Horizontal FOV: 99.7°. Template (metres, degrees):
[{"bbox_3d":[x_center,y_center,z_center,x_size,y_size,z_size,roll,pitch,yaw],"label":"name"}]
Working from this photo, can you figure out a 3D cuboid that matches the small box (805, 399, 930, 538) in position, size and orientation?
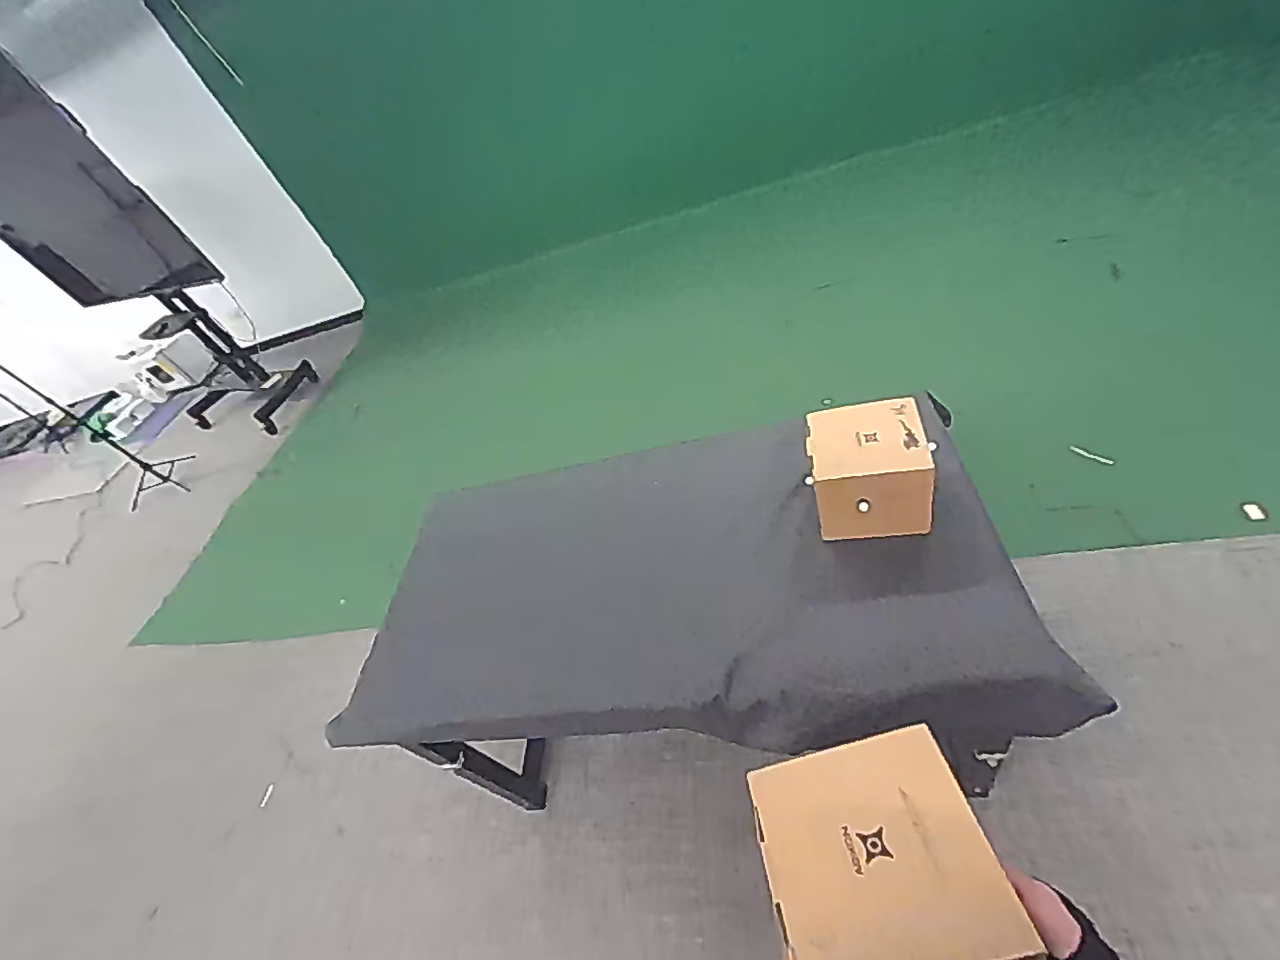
[{"bbox_3d":[0.393,-0.013,0.938,0.179,0.176,0.168,-8,47,20],"label":"small box"}]

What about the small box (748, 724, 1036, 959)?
[{"bbox_3d":[0.219,0.360,0.495,0.179,0.176,0.168,-20,37,9],"label":"small box"}]
